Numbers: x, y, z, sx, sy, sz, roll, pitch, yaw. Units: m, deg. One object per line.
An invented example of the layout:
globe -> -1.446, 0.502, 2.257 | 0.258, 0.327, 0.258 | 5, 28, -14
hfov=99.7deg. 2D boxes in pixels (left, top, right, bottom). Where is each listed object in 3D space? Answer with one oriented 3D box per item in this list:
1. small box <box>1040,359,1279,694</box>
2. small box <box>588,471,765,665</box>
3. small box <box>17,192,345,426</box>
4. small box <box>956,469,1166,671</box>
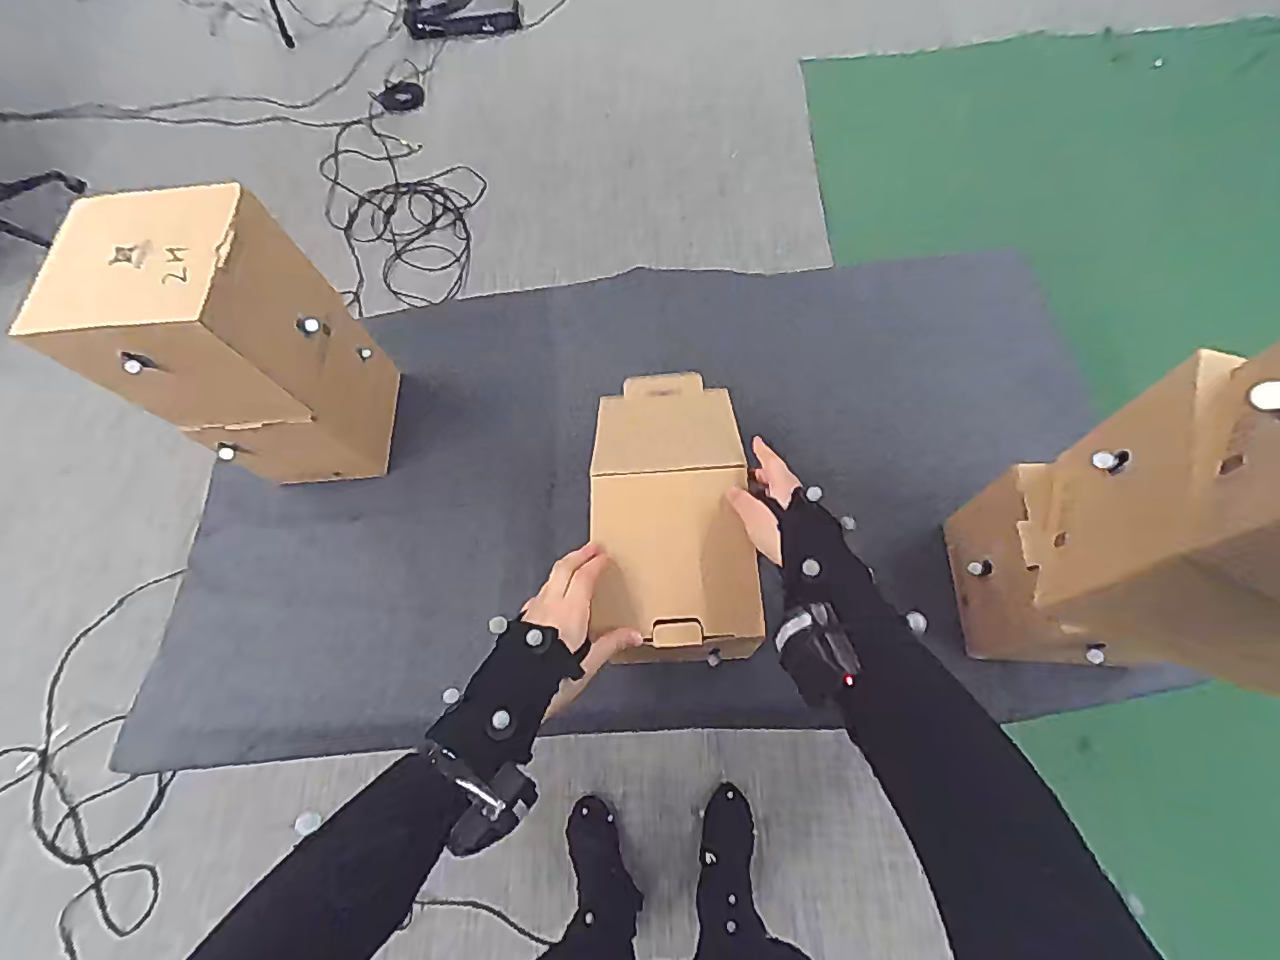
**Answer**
small box -> 0.444, 0.045, 0.403 | 0.179, 0.176, 0.168 | 21, 68, 14
small box -> 0.038, 0.107, 0.596 | 0.168, 0.176, 0.179 | -4, 64, 3
small box -> -0.453, -0.167, 0.568 | 0.179, 0.176, 0.168 | -4, 68, 3
small box -> 0.453, 0.100, 0.557 | 0.179, 0.176, 0.168 | 1, 65, 6
